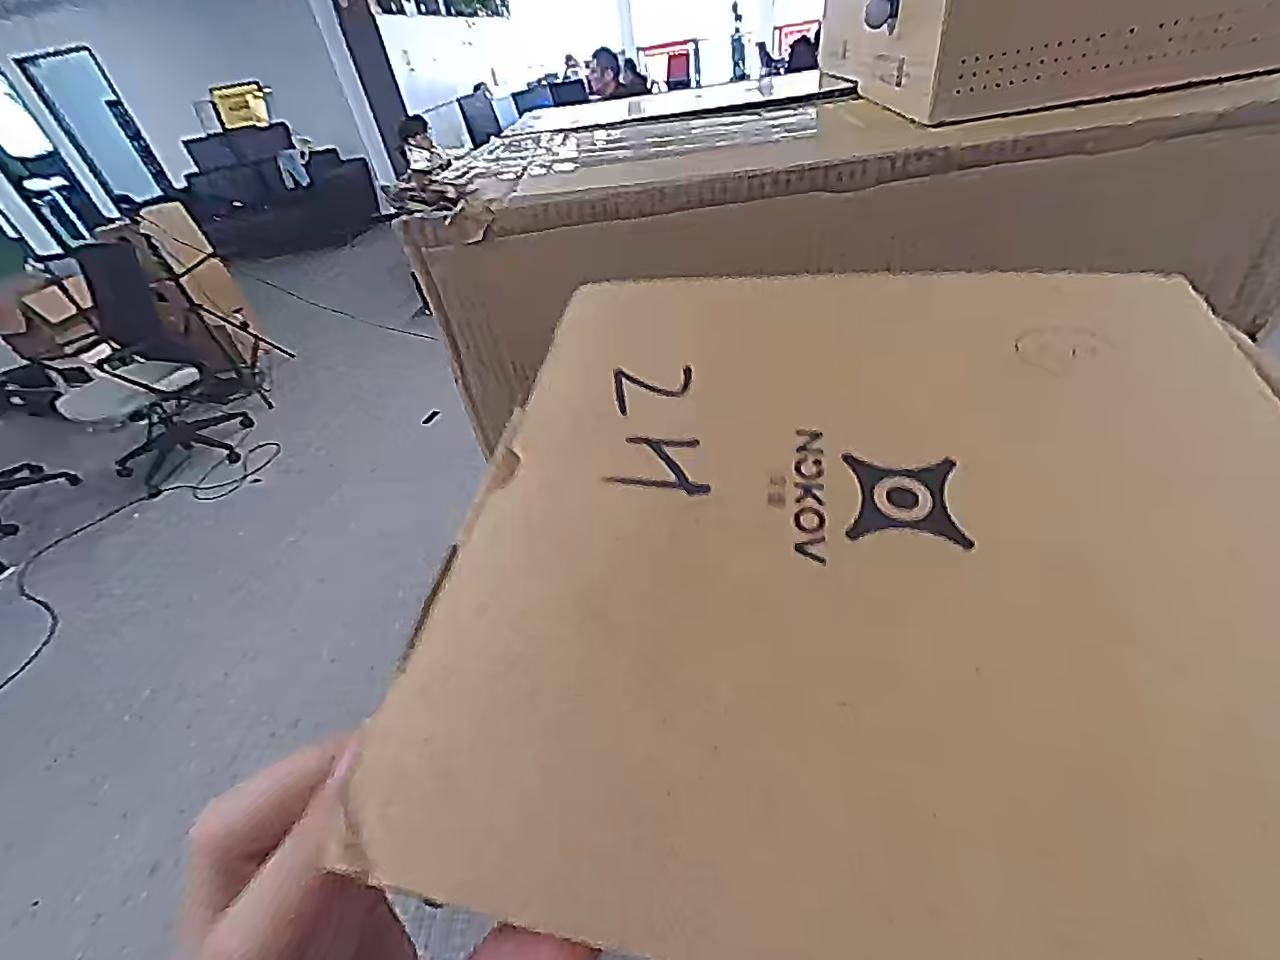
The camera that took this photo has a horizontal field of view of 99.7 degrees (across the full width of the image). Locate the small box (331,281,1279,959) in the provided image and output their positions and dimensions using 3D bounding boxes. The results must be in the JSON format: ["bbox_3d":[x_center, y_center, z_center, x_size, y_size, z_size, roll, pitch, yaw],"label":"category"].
[{"bbox_3d":[0.060,0.058,0.176,0.179,0.176,0.168,5,51,13],"label":"small box"}]
